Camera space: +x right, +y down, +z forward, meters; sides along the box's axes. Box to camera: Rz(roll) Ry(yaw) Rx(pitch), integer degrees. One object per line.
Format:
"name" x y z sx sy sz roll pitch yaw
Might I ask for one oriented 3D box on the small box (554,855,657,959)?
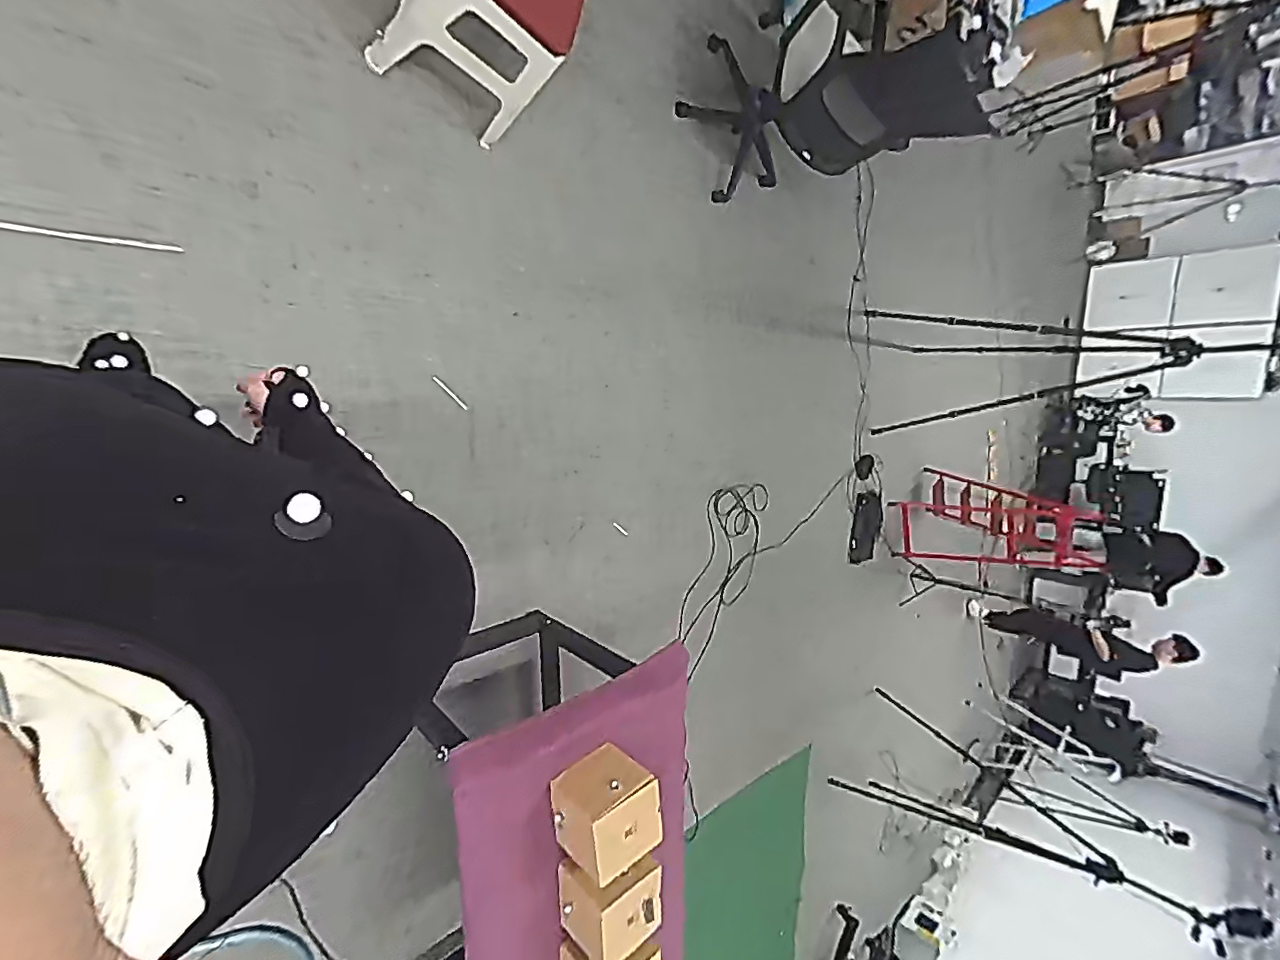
"small box" -0.080 0.963 1.253 0.179 0.176 0.168 -9 102 -40

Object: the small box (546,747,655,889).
"small box" -0.087 0.739 1.209 0.179 0.176 0.168 -14 106 -39
